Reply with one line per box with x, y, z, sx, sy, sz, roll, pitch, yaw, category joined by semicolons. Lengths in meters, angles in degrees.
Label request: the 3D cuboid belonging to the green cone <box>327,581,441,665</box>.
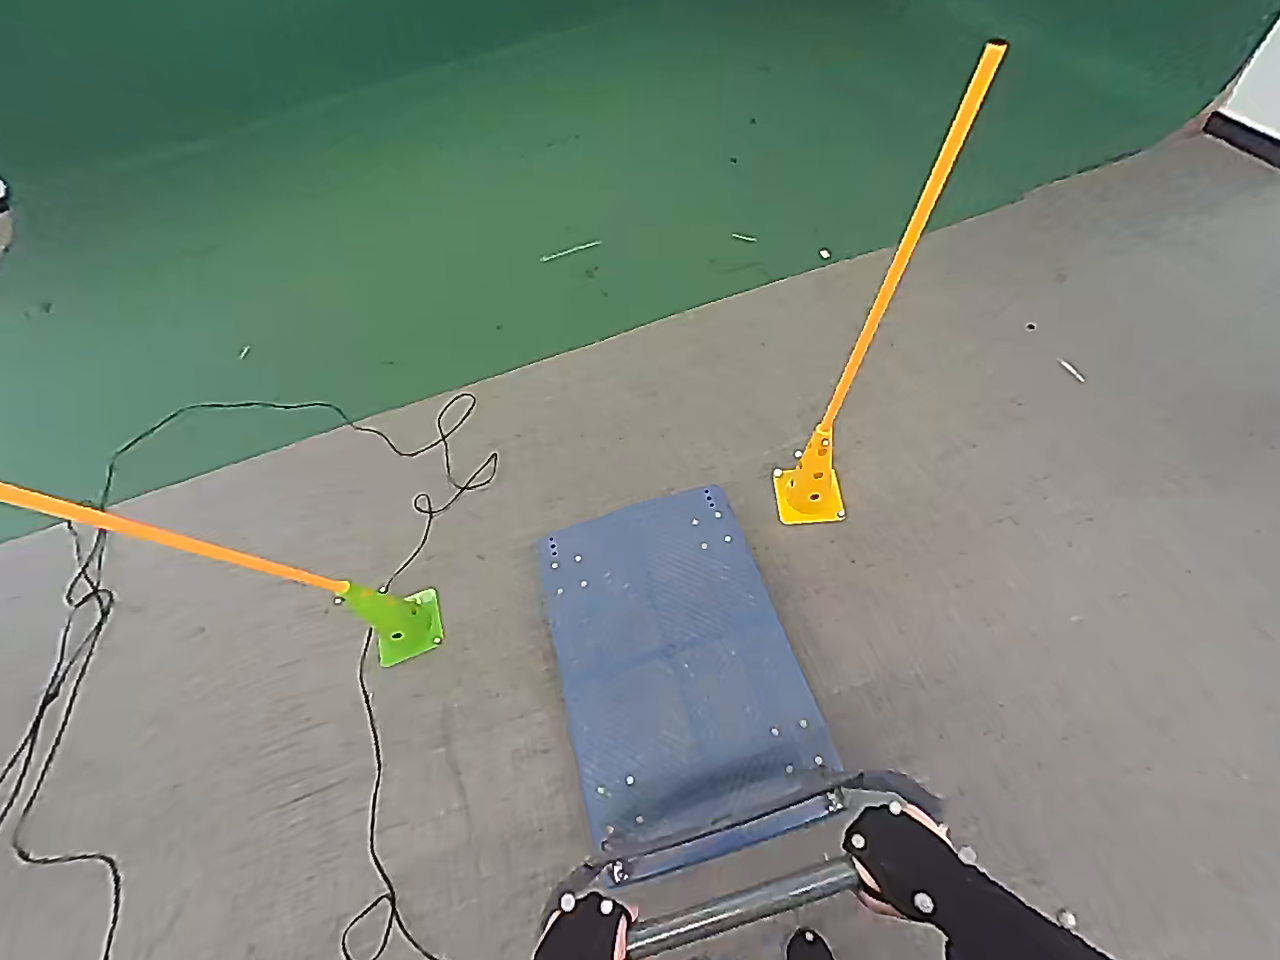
-0.755;0.365;1.544;0.202;0.368;0.200;-23;57;-3;green cone
